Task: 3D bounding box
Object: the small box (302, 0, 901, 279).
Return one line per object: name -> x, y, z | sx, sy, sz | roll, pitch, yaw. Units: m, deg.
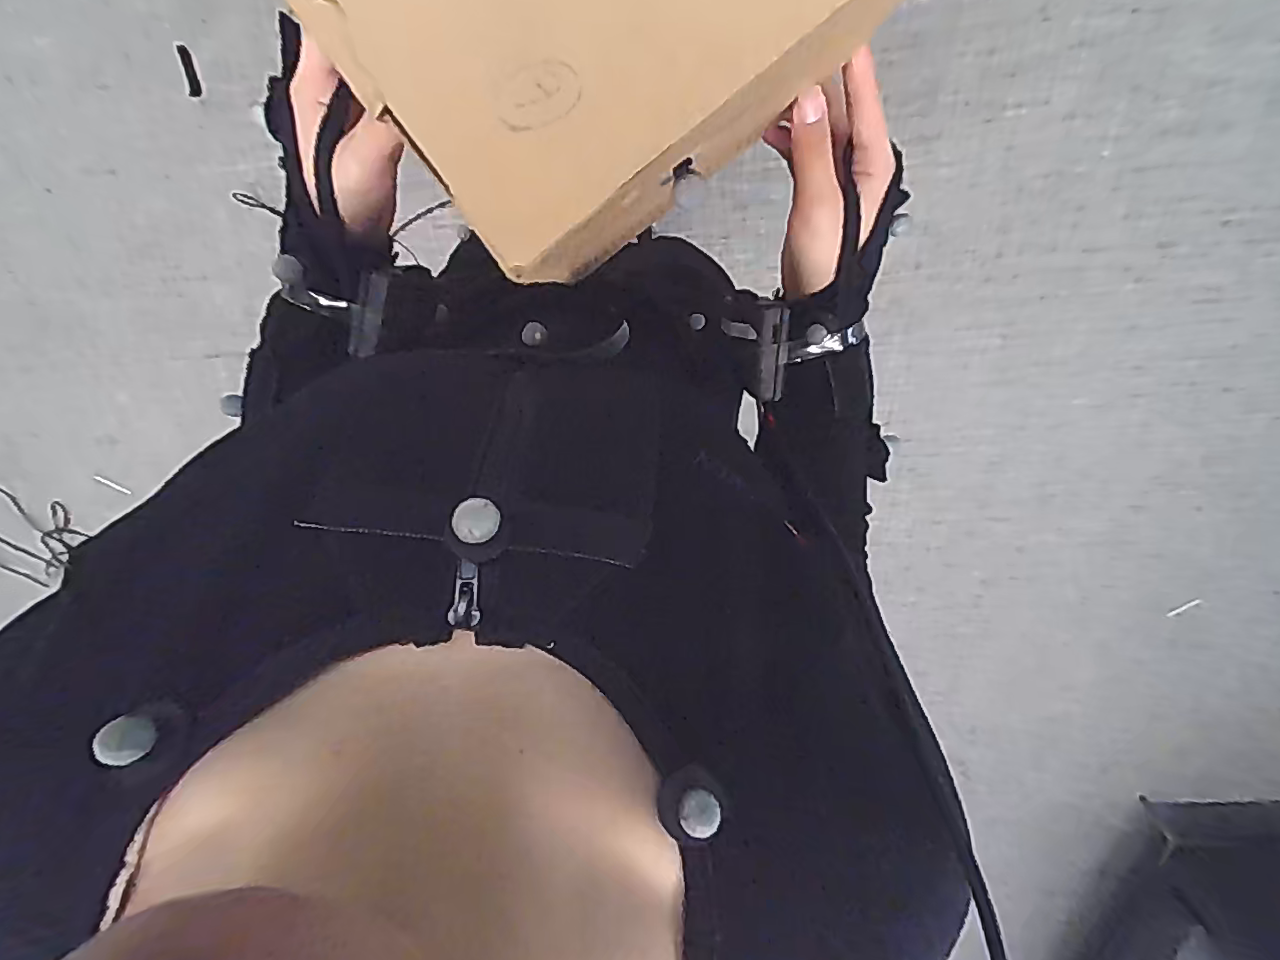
small box -> -0.015, -0.198, 0.216 | 0.179, 0.176, 0.168 | -34, 105, 12
